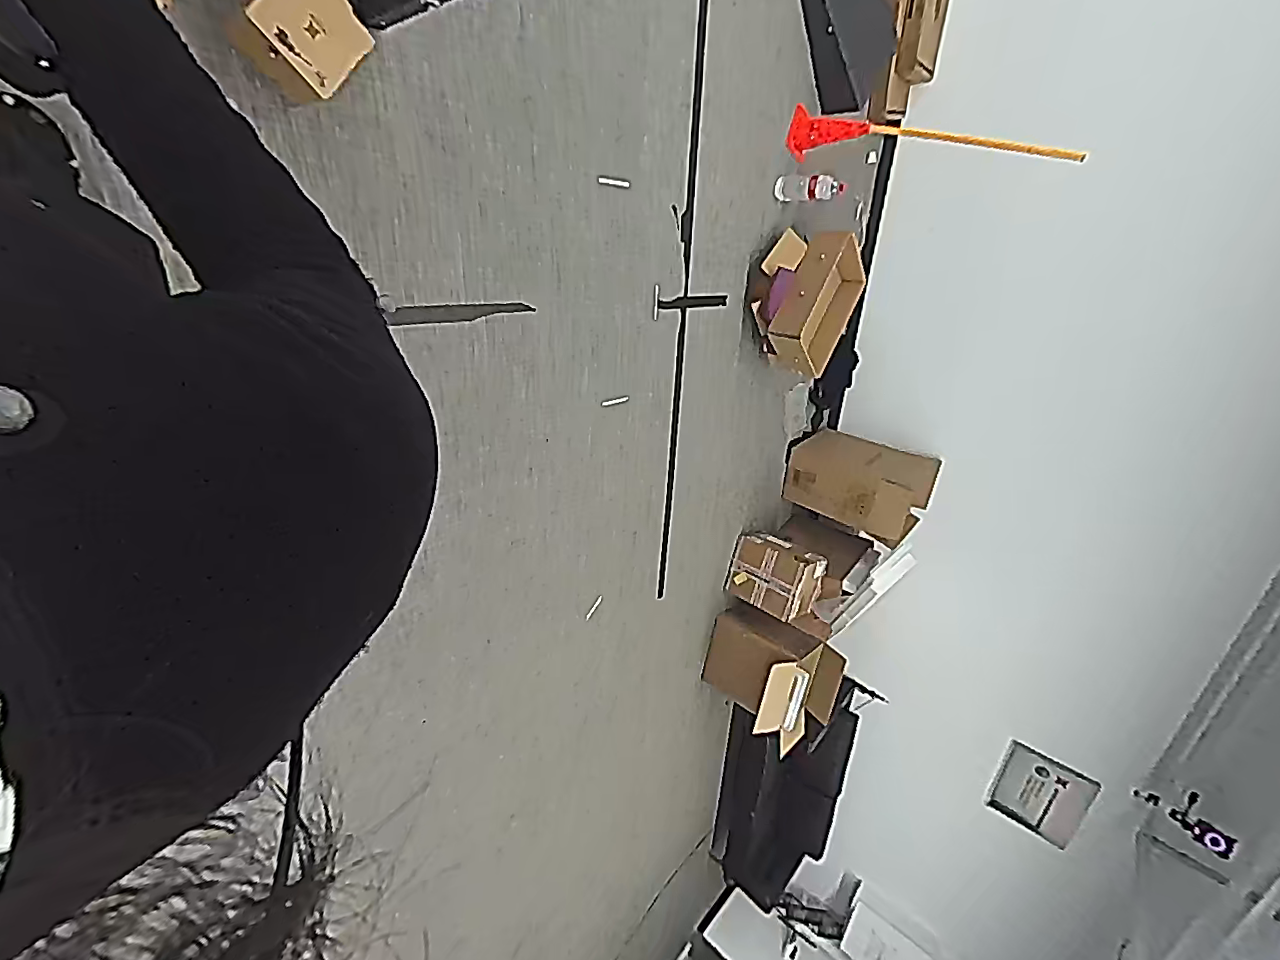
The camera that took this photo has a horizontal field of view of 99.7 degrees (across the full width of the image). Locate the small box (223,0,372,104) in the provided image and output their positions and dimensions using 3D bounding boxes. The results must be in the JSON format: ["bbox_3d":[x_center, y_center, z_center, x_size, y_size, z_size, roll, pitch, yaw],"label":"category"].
[{"bbox_3d":[-0.689,-0.898,1.085,0.179,0.176,0.168,-60,143,-10],"label":"small box"}]
